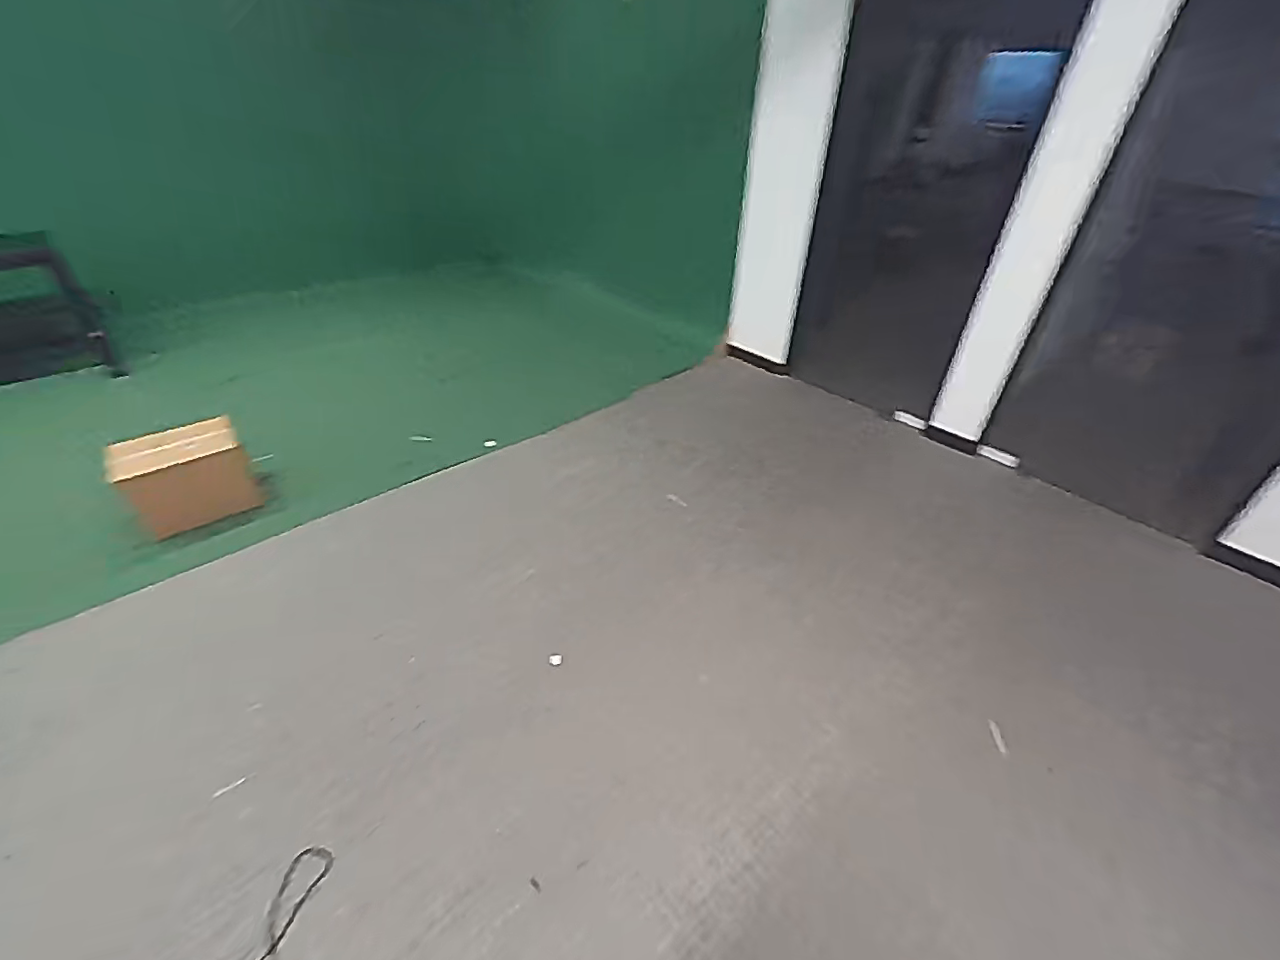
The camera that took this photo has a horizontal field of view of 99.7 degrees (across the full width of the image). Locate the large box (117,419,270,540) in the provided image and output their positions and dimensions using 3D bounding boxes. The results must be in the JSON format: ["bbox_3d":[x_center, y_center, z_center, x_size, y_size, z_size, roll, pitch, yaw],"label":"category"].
[{"bbox_3d":[-1.872,-0.011,2.282,0.408,0.320,0.320,-24,44,-32],"label":"large box"}]
